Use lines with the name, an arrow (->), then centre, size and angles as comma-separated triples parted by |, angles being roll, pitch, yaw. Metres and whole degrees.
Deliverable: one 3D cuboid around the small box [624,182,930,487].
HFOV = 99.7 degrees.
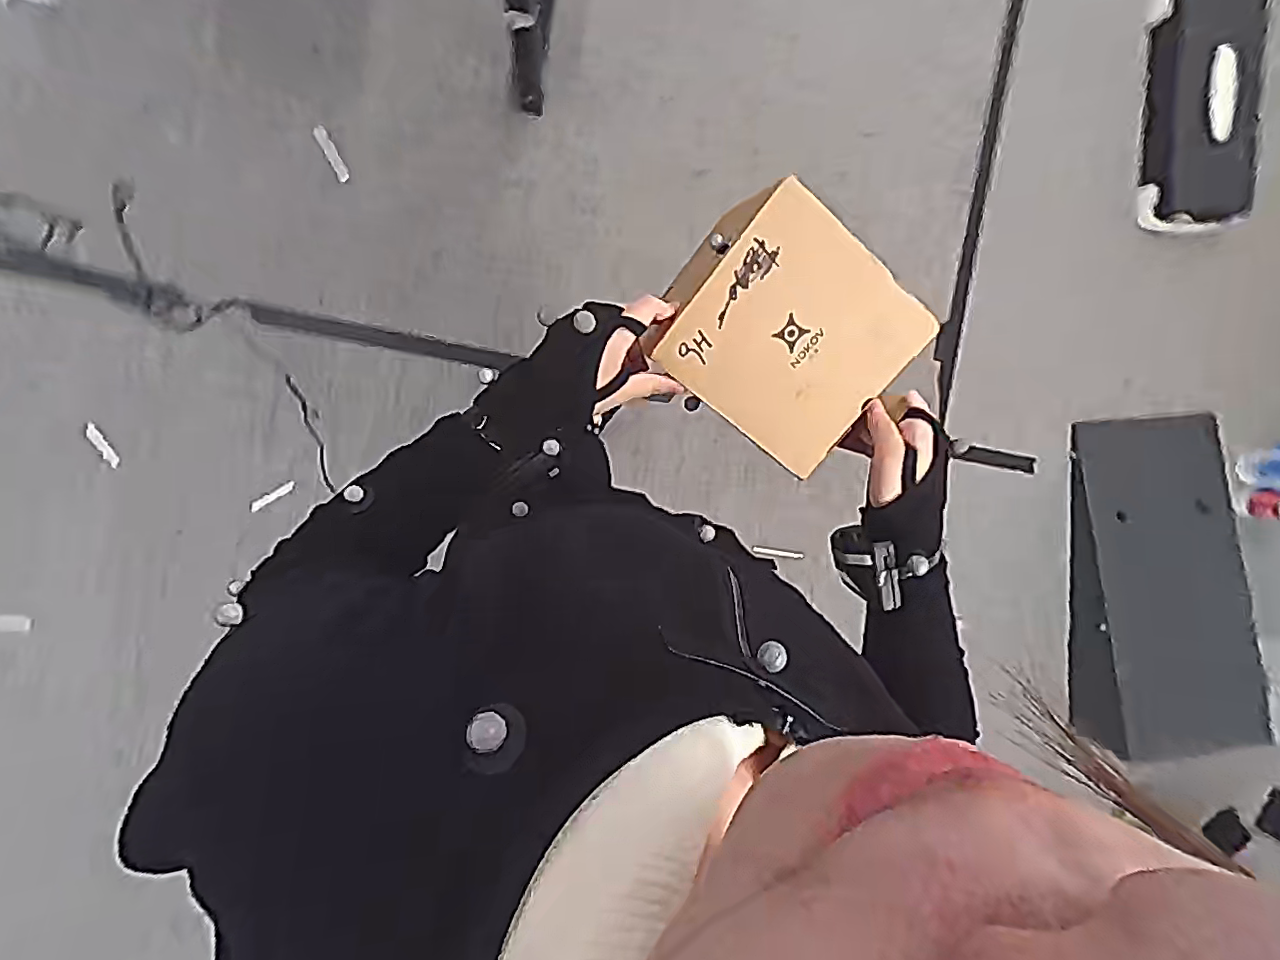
small box -> 0.104, -0.128, 0.488 | 0.179, 0.176, 0.168 | 35, 102, -17
